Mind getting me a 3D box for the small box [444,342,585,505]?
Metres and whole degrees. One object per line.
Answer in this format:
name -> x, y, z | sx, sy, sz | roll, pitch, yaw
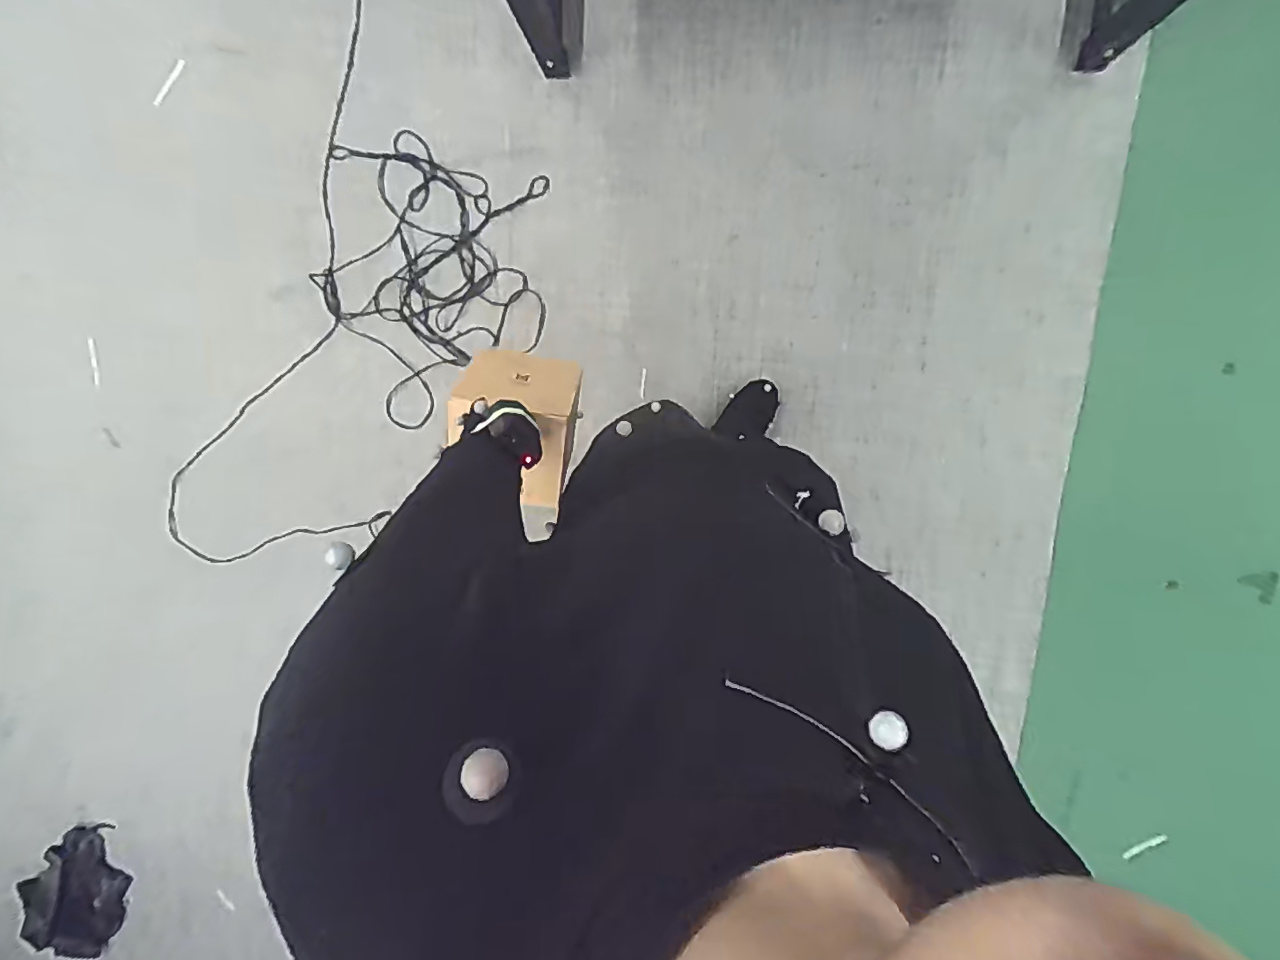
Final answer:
small box -> -0.184, -0.085, 0.820 | 0.168, 0.179, 0.176 | 11, 126, -5
